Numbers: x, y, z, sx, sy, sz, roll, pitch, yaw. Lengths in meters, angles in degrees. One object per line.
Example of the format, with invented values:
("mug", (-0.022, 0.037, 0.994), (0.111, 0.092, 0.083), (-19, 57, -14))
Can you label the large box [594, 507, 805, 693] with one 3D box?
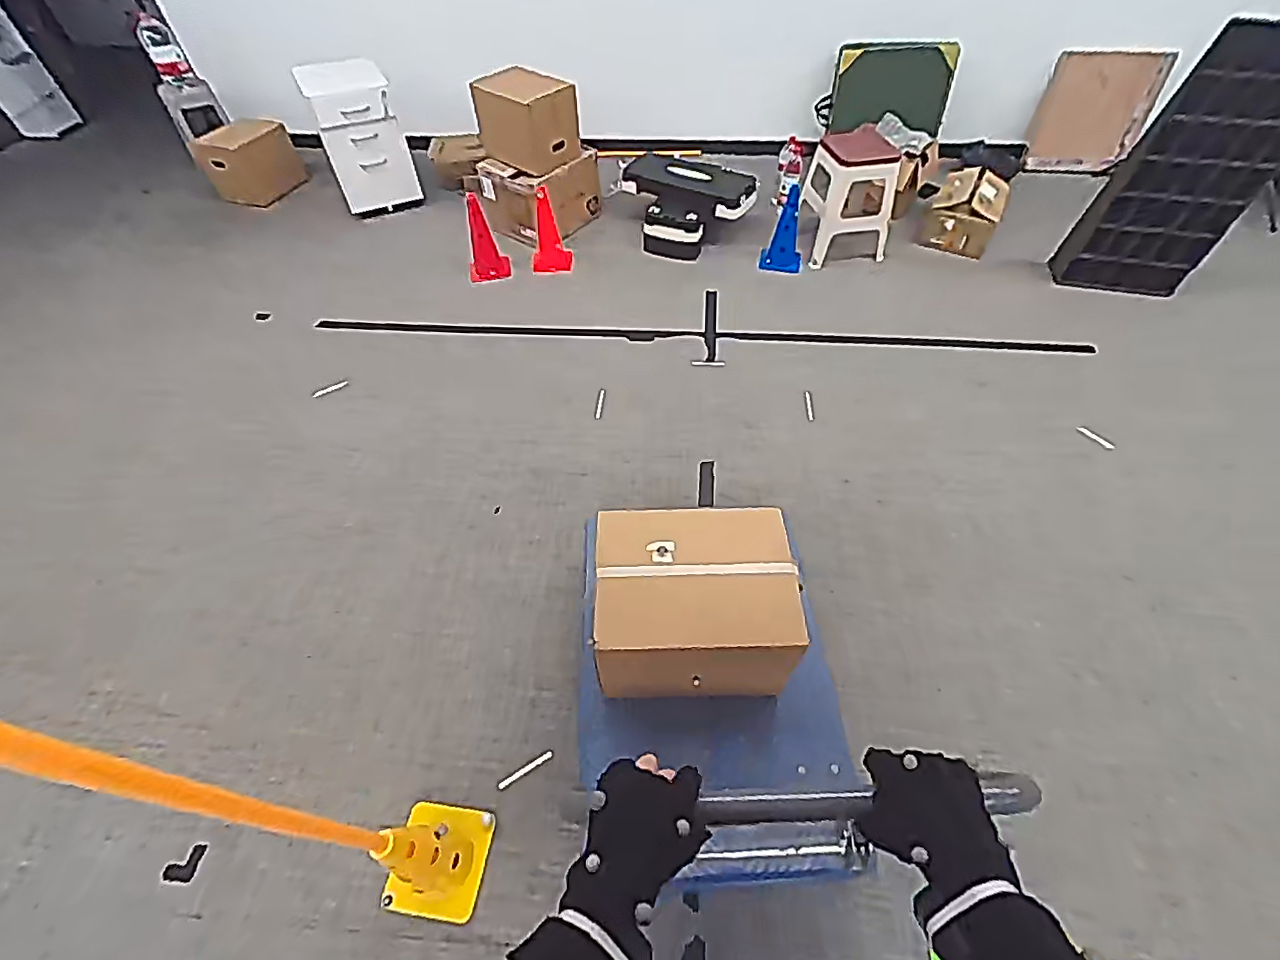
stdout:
("large box", (0.114, 0.277, 1.218), (0.408, 0.320, 0.320), (-2, 52, 1))

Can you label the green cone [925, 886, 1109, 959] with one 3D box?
("green cone", (0.684, 0.842, 0.943), (0.202, 0.368, 0.200), (7, 52, 5))
